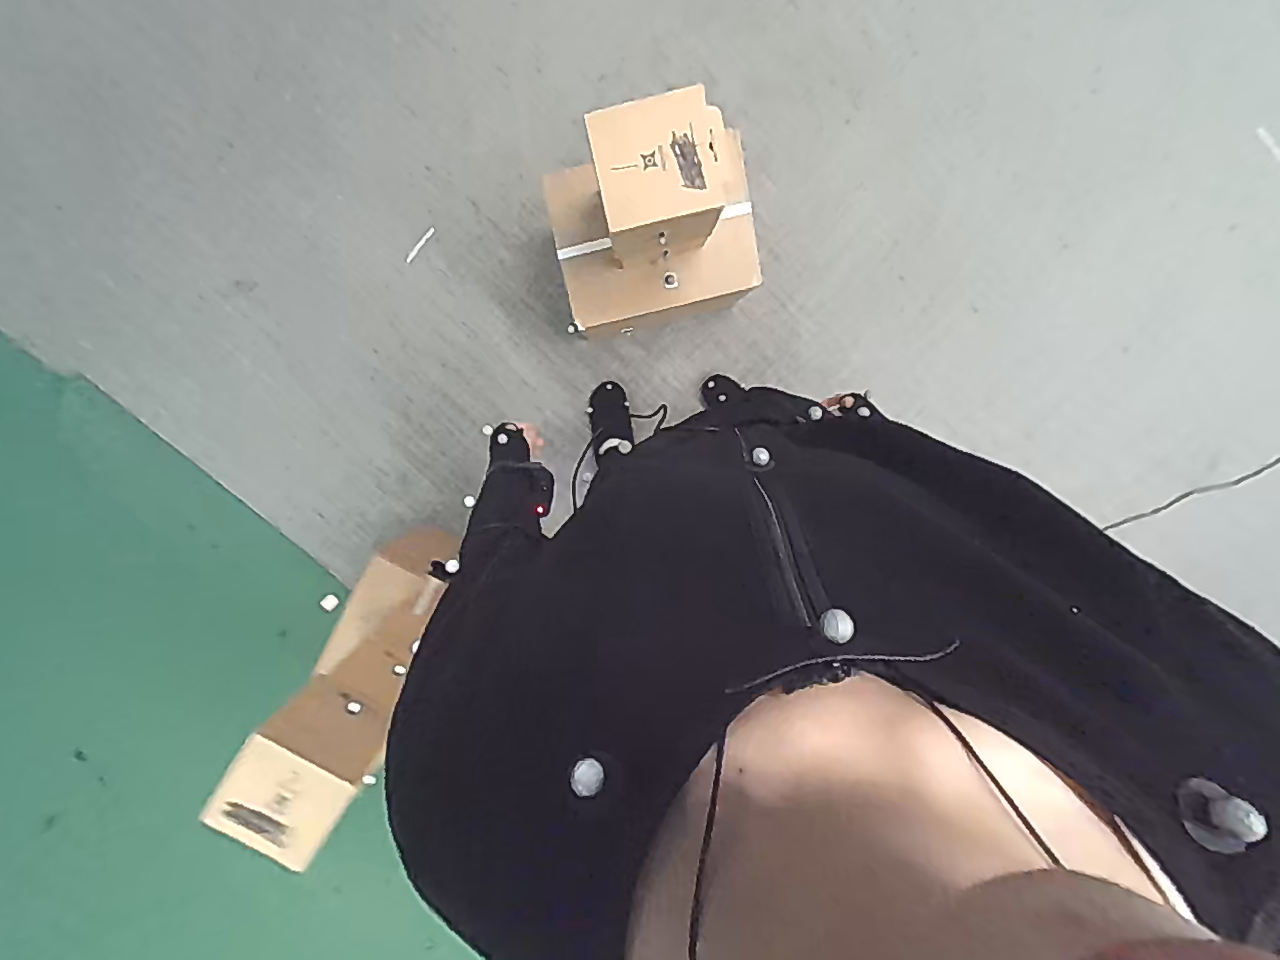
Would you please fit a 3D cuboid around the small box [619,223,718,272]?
[{"bbox_3d":[0.029,-0.508,1.007,0.179,0.176,0.168,-17,98,2],"label":"small box"}]

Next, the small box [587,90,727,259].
[{"bbox_3d":[0.025,-0.463,0.847,0.179,0.176,0.168,-12,99,3],"label":"small box"}]

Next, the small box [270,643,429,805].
[{"bbox_3d":[-0.526,0.445,1.009,0.168,0.176,0.179,36,97,-6],"label":"small box"}]

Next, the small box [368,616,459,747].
[{"bbox_3d":[-0.523,0.424,1.170,0.179,0.176,0.168,34,98,-6],"label":"small box"}]
